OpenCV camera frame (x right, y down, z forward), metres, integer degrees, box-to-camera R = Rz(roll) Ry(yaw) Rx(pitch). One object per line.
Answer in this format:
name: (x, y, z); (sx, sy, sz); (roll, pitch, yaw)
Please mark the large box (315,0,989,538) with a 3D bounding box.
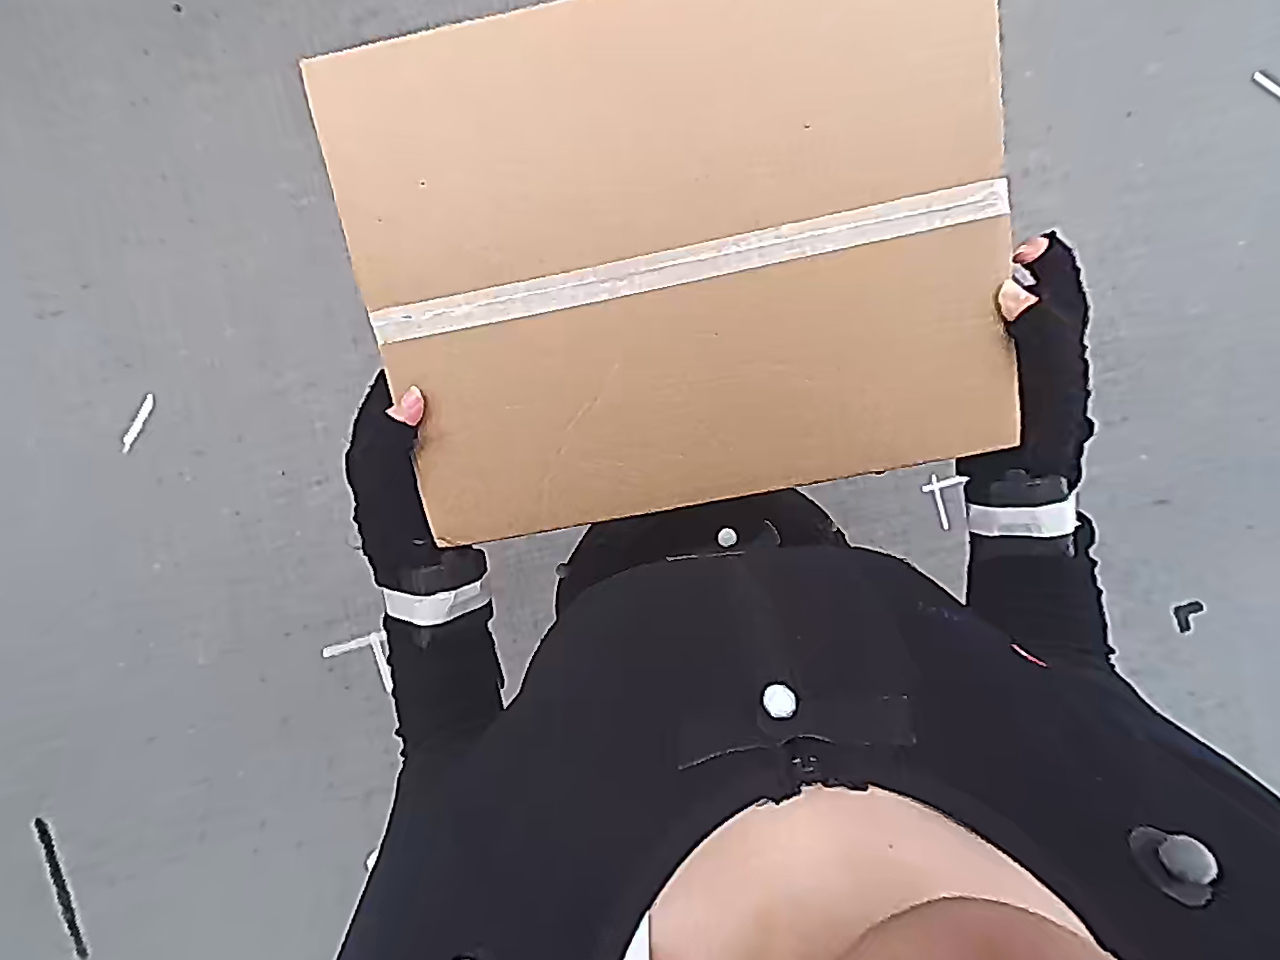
large box: (0.023, -0.173, 0.499); (0.408, 0.320, 0.320); (-10, 101, 3)
